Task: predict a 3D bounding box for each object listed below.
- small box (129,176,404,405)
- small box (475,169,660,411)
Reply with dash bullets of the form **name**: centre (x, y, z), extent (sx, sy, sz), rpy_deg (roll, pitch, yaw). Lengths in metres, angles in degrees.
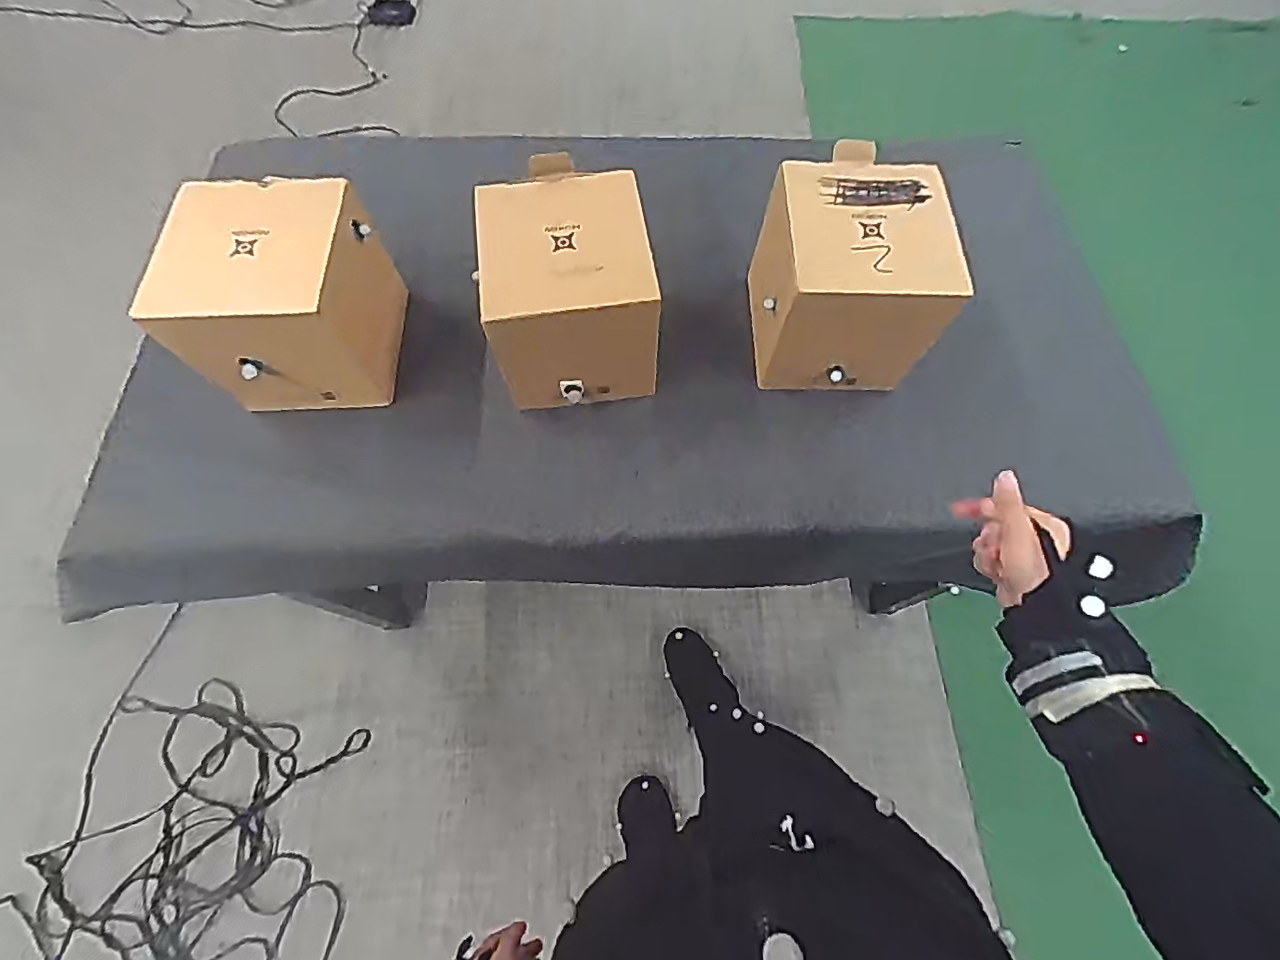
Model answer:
- **small box**: centre (-0.374, -0.191, 0.583), extent (0.168, 0.176, 0.179), rpy_deg (-3, 66, -2)
- **small box**: centre (-0.075, -0.199, 0.592), extent (0.168, 0.176, 0.179), rpy_deg (-9, 67, -3)
